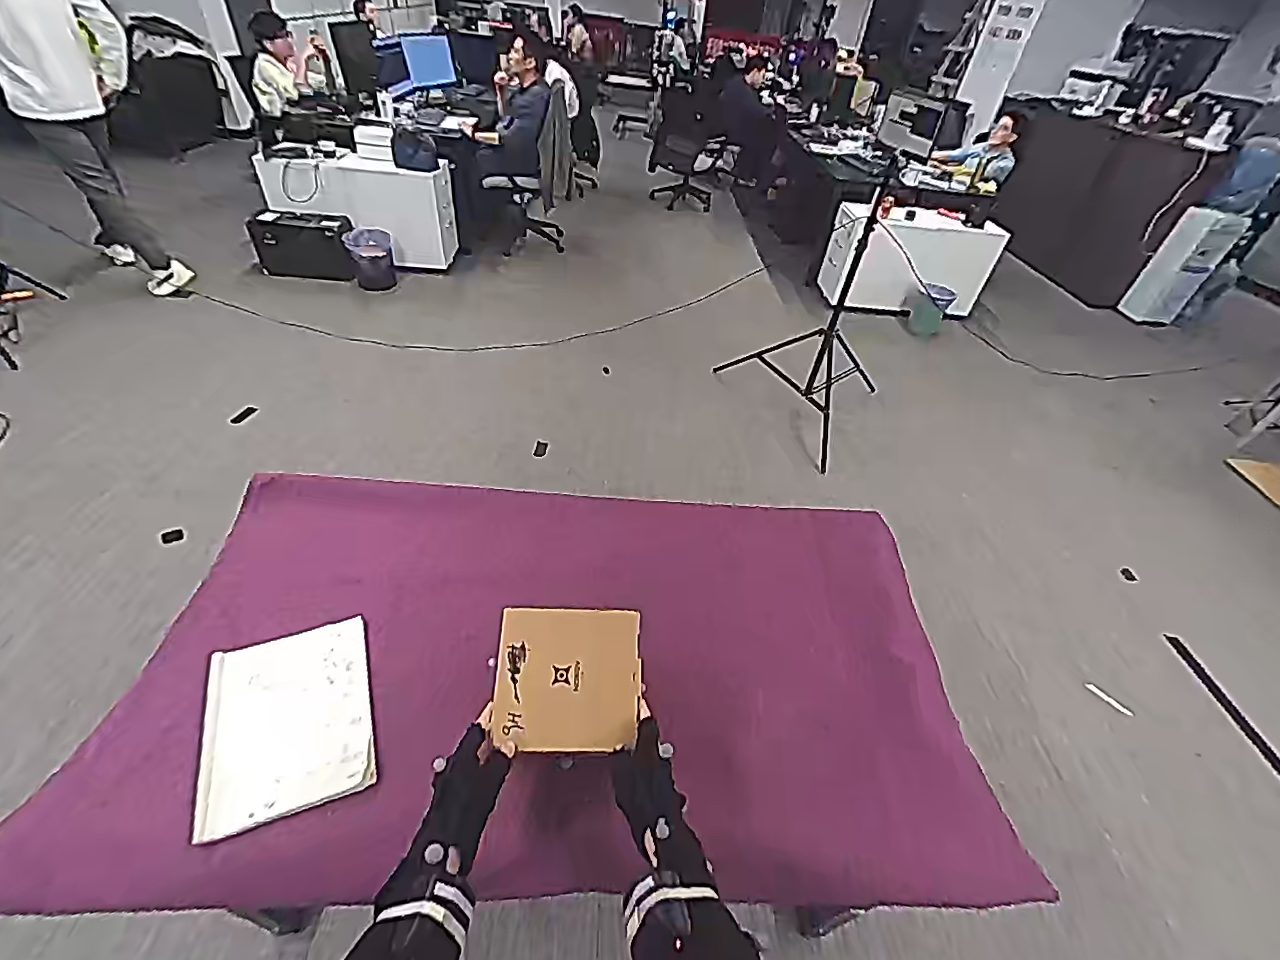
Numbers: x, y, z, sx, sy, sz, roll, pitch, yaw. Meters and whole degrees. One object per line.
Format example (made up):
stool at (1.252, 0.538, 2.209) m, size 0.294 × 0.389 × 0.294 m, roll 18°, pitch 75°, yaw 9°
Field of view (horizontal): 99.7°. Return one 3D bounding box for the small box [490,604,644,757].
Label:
small box at (-0.092, 0.272, 0.723) m, size 0.179 × 0.176 × 0.168 m, roll 3°, pitch 60°, yaw -6°
